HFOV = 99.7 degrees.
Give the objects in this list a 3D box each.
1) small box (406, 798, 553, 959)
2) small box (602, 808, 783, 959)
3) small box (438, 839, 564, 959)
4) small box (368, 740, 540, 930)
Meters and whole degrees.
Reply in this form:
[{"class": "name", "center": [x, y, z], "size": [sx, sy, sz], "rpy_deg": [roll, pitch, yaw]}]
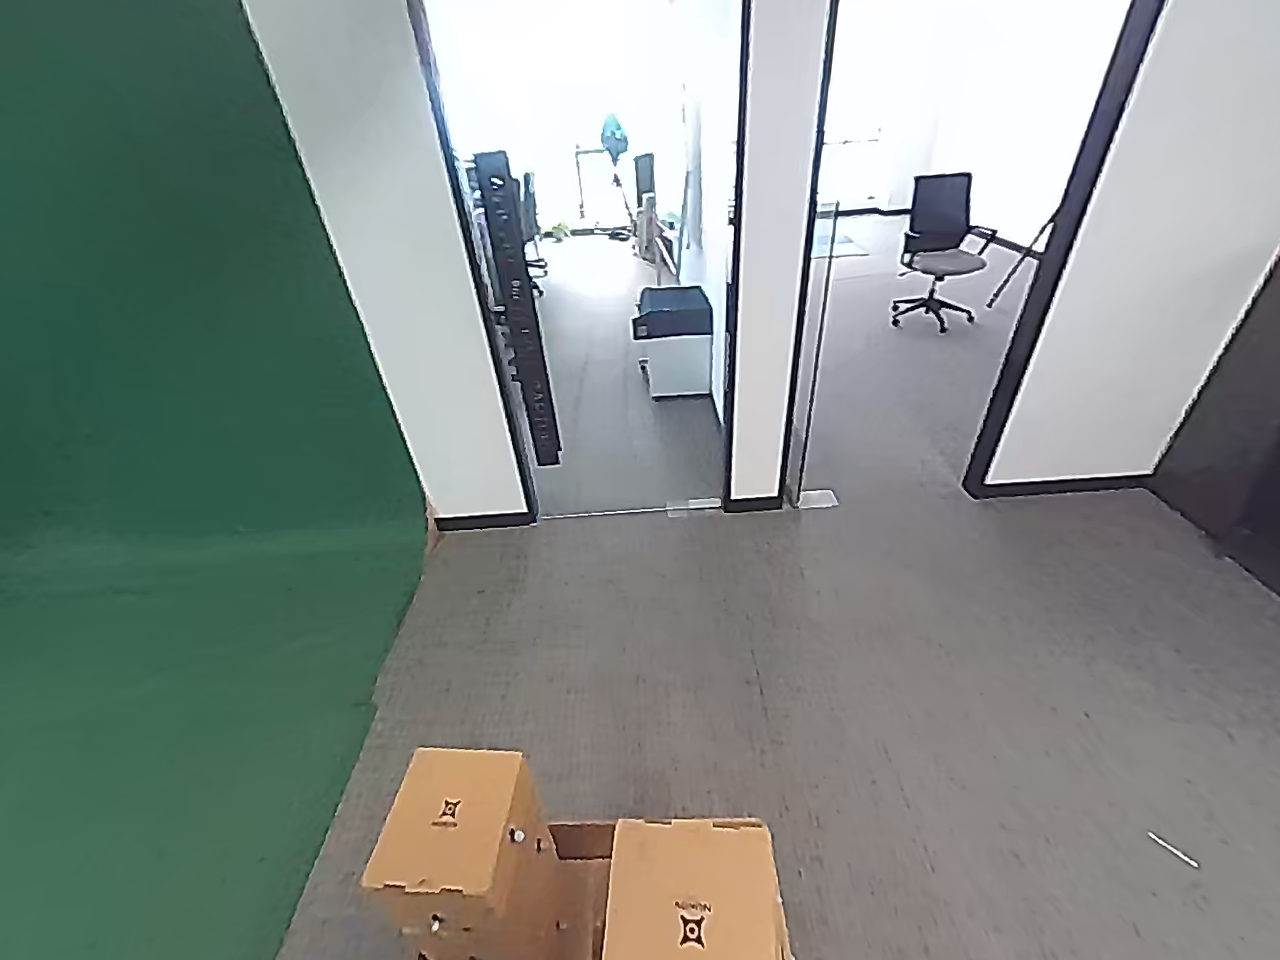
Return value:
[{"class": "small box", "center": [-0.243, 0.638, 0.871], "size": [0.168, 0.176, 0.179], "rpy_deg": [-1, 36, 5]}, {"class": "small box", "center": [0.051, 0.475, 0.561], "size": [0.168, 0.176, 0.179], "rpy_deg": [2, 40, 5]}, {"class": "small box", "center": [-0.234, 0.772, 0.965], "size": [0.168, 0.176, 0.179], "rpy_deg": [-1, 35, 4]}, {"class": "small box", "center": [-0.249, 0.505, 0.778], "size": [0.168, 0.176, 0.179], "rpy_deg": [0, 36, 6]}]
